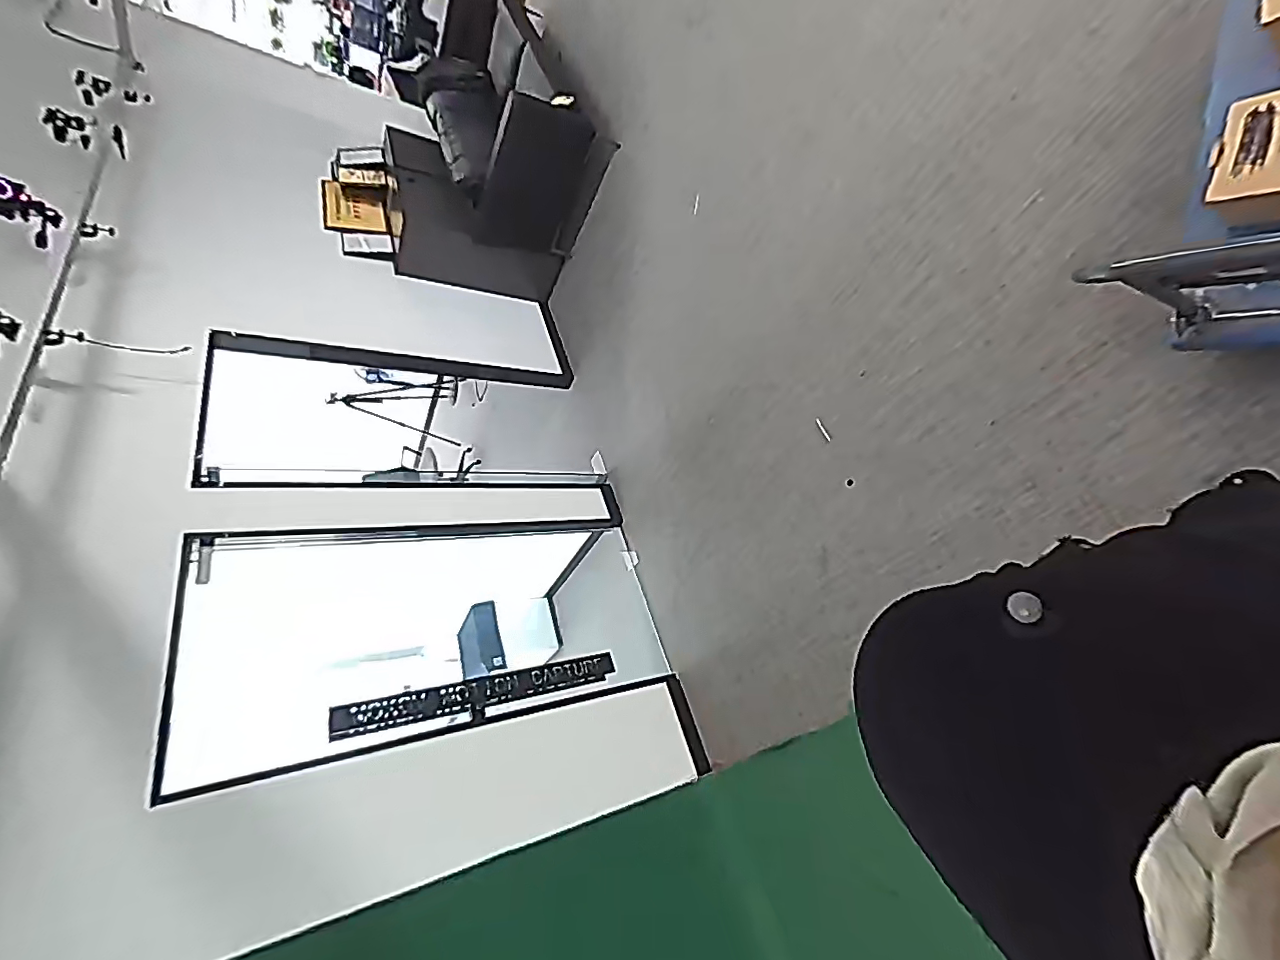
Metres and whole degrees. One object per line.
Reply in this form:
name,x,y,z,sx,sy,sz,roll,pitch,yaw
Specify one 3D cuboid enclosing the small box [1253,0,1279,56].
small box,1.144,-0.841,0.881,0.168,0.176,0.179,4,93,55
